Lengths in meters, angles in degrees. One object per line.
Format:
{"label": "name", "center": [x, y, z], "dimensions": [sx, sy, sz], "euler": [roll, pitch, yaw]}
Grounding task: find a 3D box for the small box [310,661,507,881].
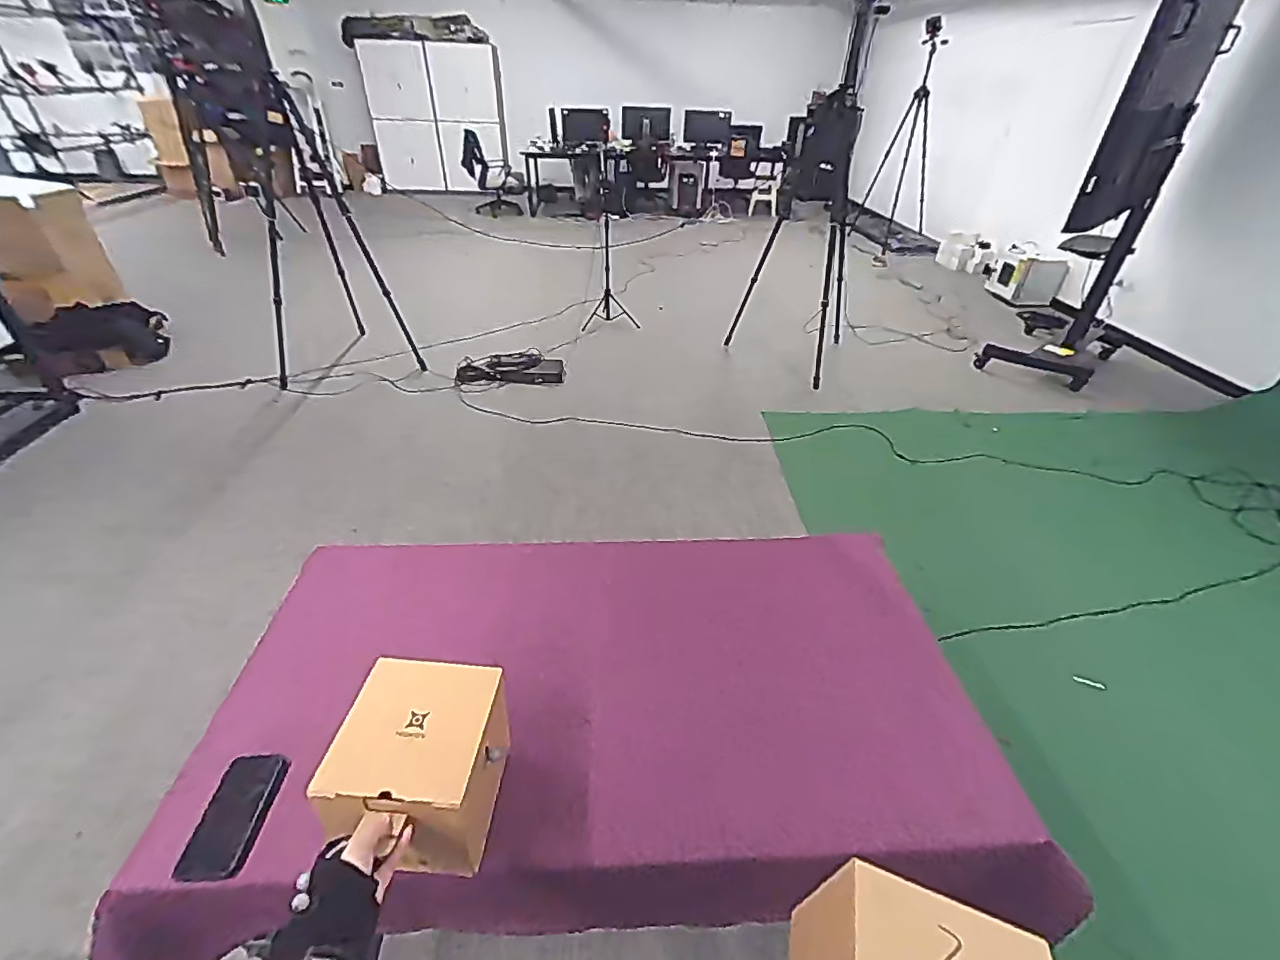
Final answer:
{"label": "small box", "center": [-0.268, 0.358, 0.675], "dimensions": [0.168, 0.176, 0.179], "euler": [6, 34, 0]}
